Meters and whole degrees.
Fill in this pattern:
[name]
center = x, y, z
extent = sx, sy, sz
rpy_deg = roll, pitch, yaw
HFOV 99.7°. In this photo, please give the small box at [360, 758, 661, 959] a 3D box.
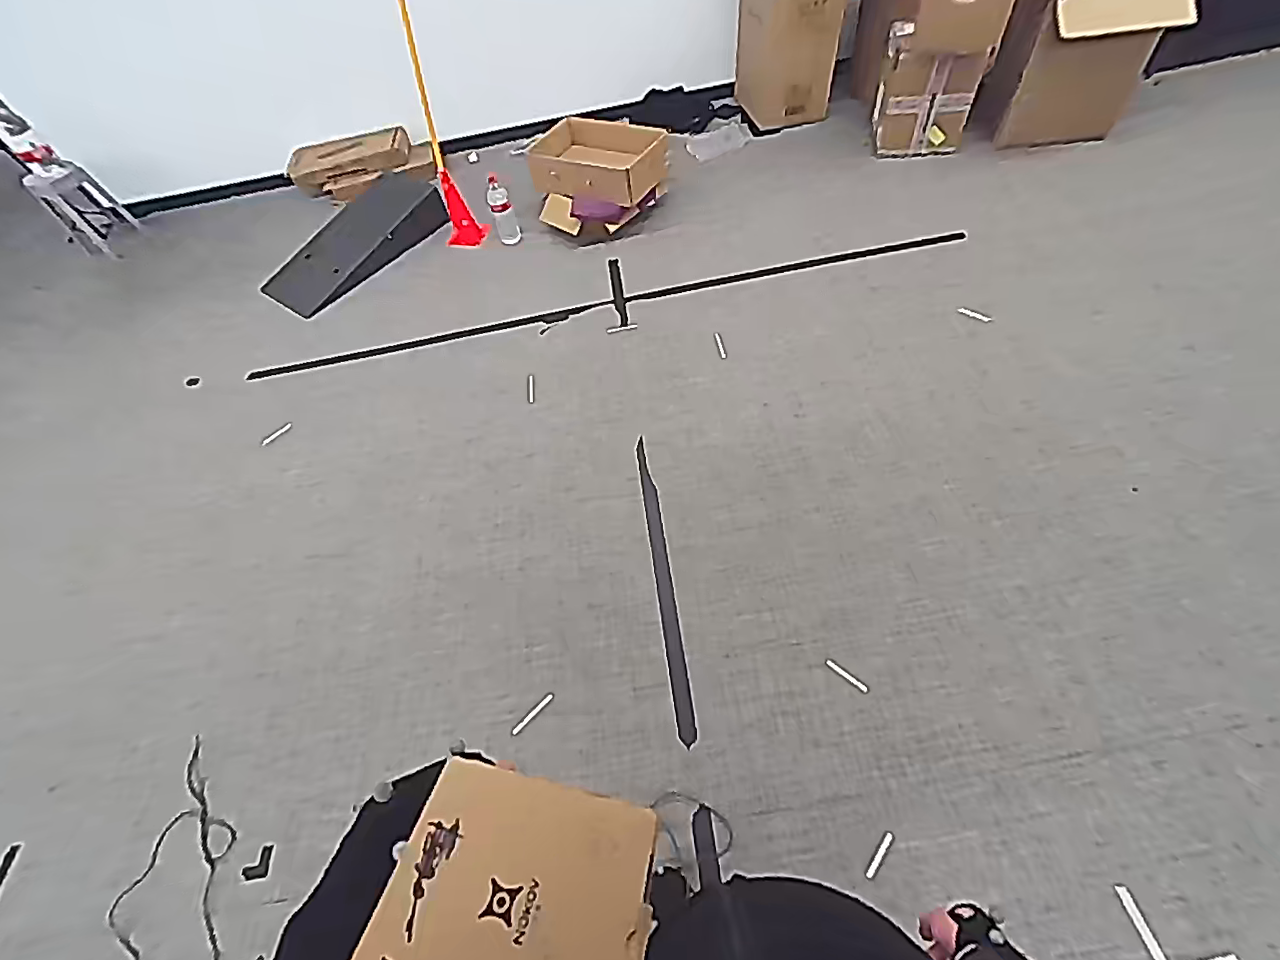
[small box]
center = -0.092, 0.354, 0.420
extent = 0.179, 0.176, 0.168
rpy_deg = 12, 38, 5
